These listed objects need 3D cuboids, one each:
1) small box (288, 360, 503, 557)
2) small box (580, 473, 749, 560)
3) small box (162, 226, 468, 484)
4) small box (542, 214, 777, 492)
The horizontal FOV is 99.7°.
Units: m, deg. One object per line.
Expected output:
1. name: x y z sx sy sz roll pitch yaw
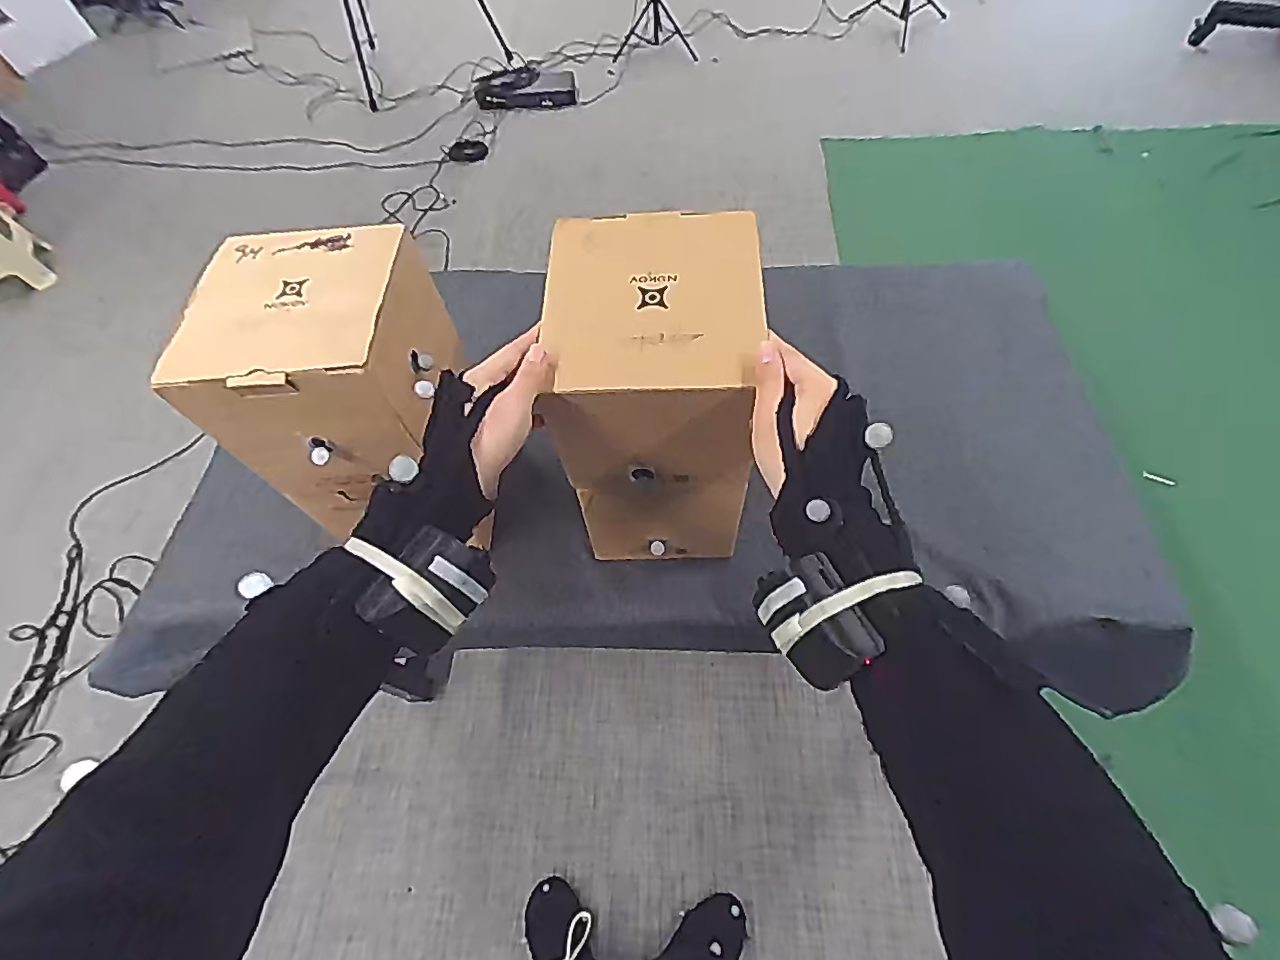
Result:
1. small box: -0.271 -0.022 0.652 0.168 0.176 0.179 -3 58 2
2. small box: 0.027 -0.022 0.628 0.168 0.176 0.179 -2 58 3
3. small box: -0.275 -0.106 0.511 0.168 0.176 0.179 -4 59 1
4. small box: 0.019 -0.103 0.479 0.168 0.176 0.179 -1 64 4
